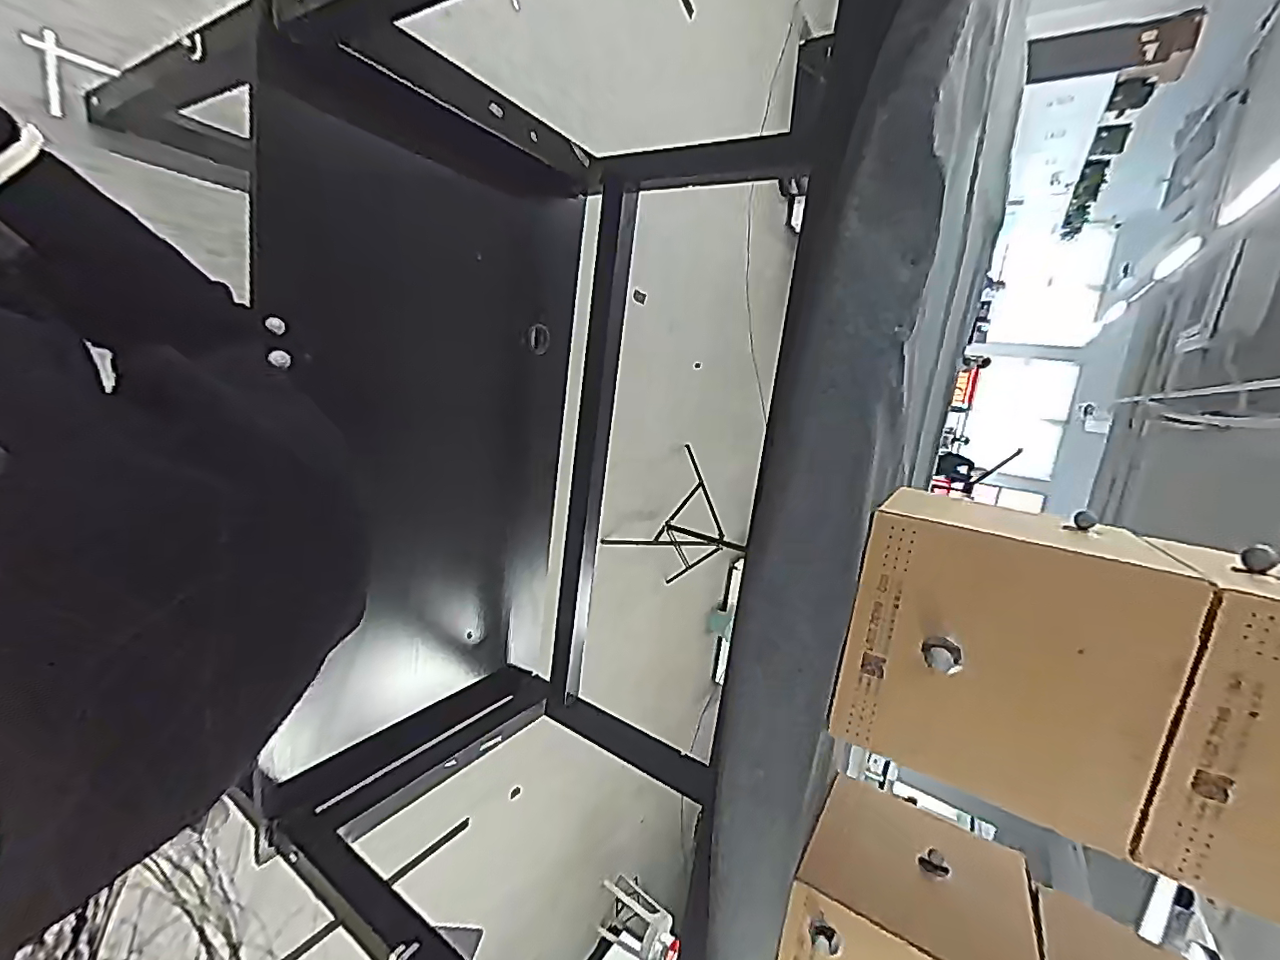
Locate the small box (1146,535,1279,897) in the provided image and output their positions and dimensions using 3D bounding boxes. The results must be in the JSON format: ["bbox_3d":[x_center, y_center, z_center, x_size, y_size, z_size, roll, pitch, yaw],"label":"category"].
[{"bbox_3d":[0.405,0.142,0.325,0.179,0.176,0.168,-9,110,-59],"label":"small box"}]

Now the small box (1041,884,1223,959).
[{"bbox_3d":[0.348,0.433,0.354,0.179,0.176,0.168,-14,115,-57],"label":"small box"}]

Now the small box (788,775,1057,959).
[{"bbox_3d":[0.228,0.398,0.462,0.179,0.176,0.168,-3,104,-60],"label":"small box"}]

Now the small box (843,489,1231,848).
[{"bbox_3d":[0.264,0.107,0.402,0.179,0.176,0.168,-9,109,-59],"label":"small box"}]
